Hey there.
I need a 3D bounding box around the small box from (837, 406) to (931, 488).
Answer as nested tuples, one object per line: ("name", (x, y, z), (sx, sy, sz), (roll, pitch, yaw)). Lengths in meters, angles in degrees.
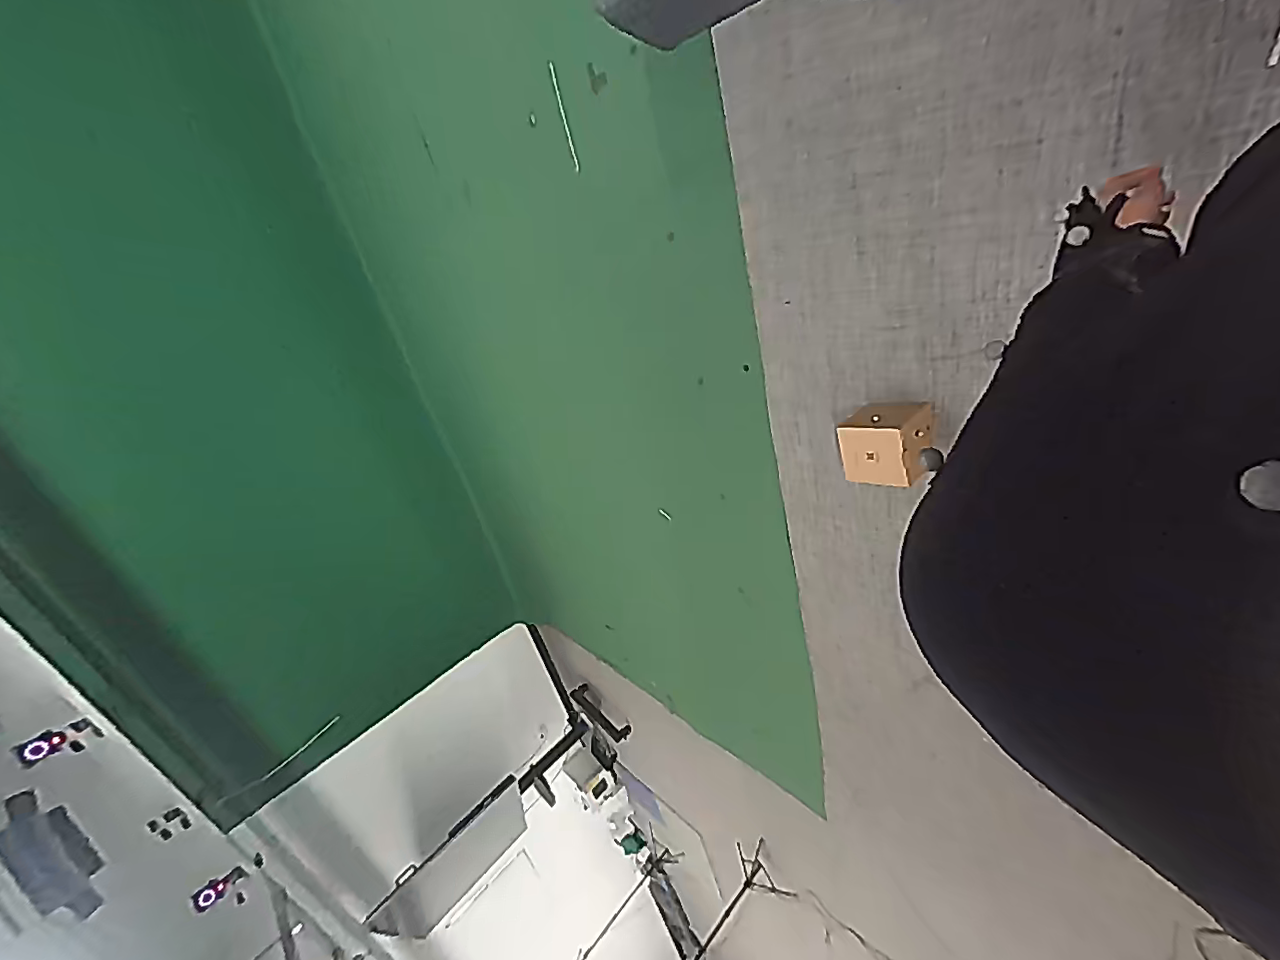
("small box", (0.662, -0.095, 1.454), (0.179, 0.176, 0.168), (9, 123, 51))
